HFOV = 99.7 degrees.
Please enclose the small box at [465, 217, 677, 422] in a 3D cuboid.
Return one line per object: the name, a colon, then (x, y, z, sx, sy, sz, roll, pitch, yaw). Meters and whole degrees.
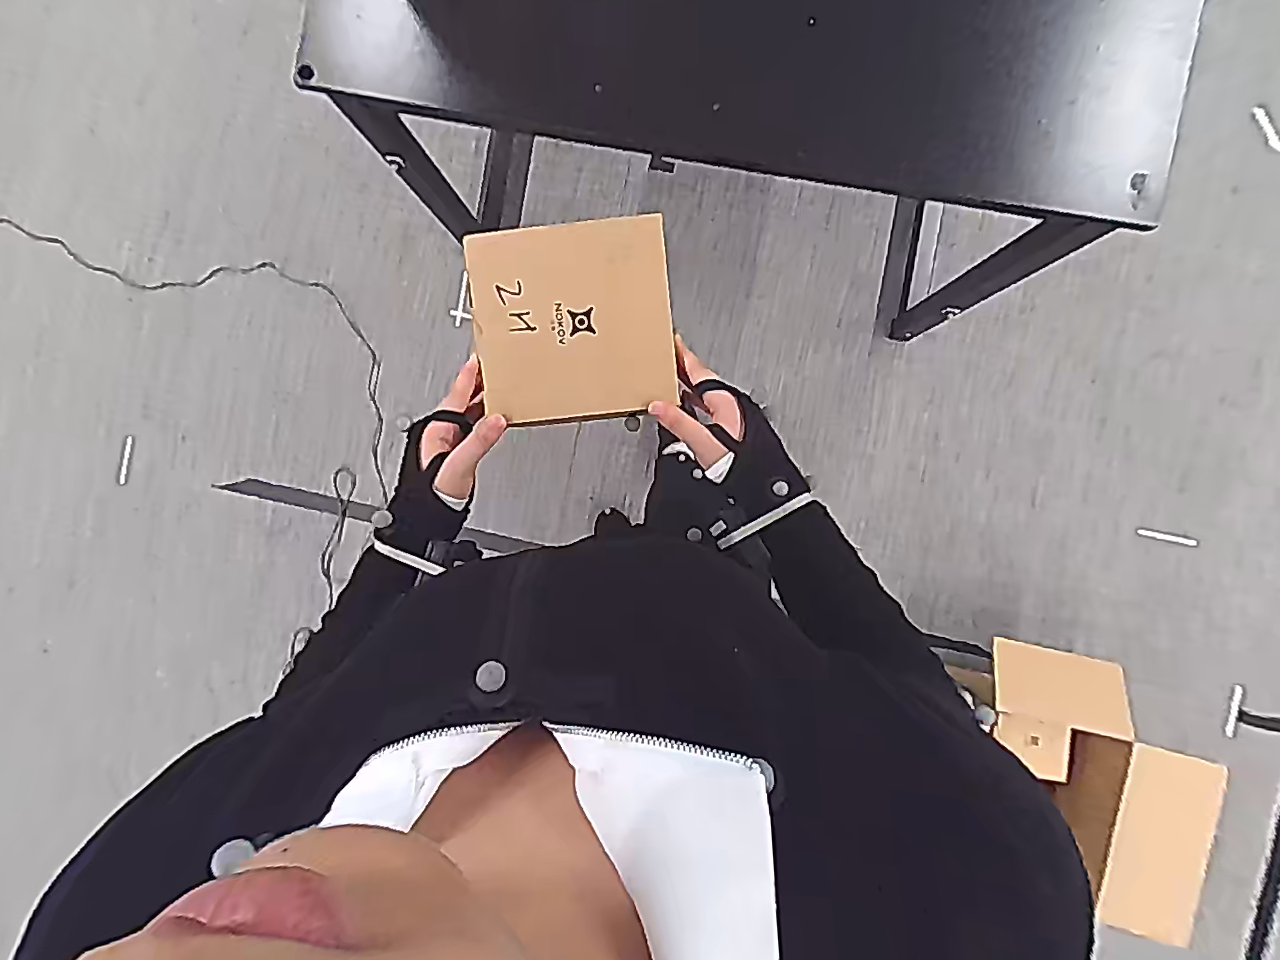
small box: (-0.060, -0.149, 0.557, 0.179, 0.176, 0.168, -6, 95, 2)
